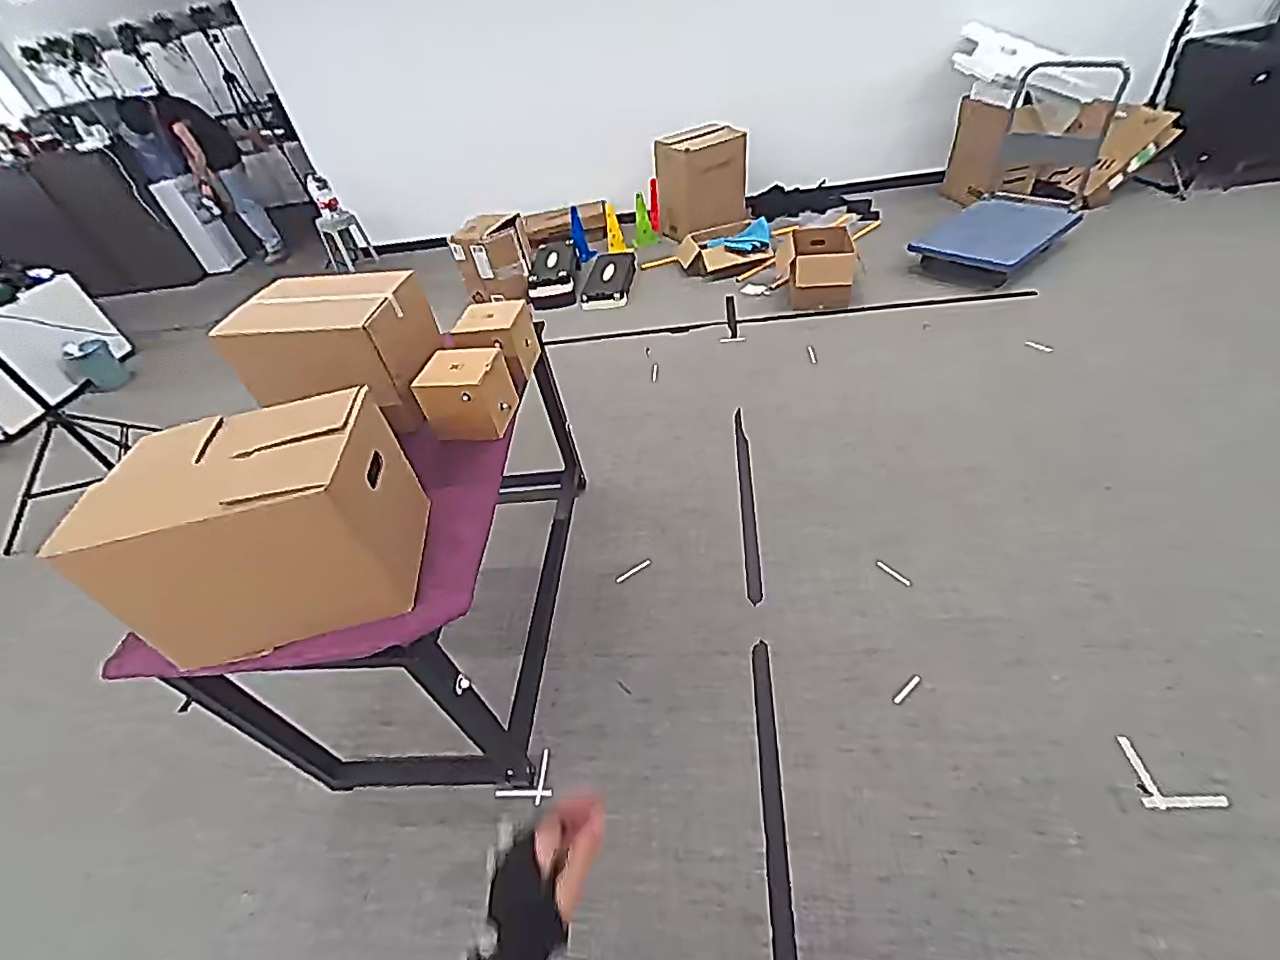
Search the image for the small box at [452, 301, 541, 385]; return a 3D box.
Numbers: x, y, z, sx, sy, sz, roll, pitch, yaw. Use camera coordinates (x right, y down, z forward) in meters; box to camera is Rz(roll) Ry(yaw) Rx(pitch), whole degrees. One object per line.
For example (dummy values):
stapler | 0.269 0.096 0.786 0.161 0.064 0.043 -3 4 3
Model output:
small box | -0.398 -0.388 1.538 0.179 0.176 0.168 -3 43 11
